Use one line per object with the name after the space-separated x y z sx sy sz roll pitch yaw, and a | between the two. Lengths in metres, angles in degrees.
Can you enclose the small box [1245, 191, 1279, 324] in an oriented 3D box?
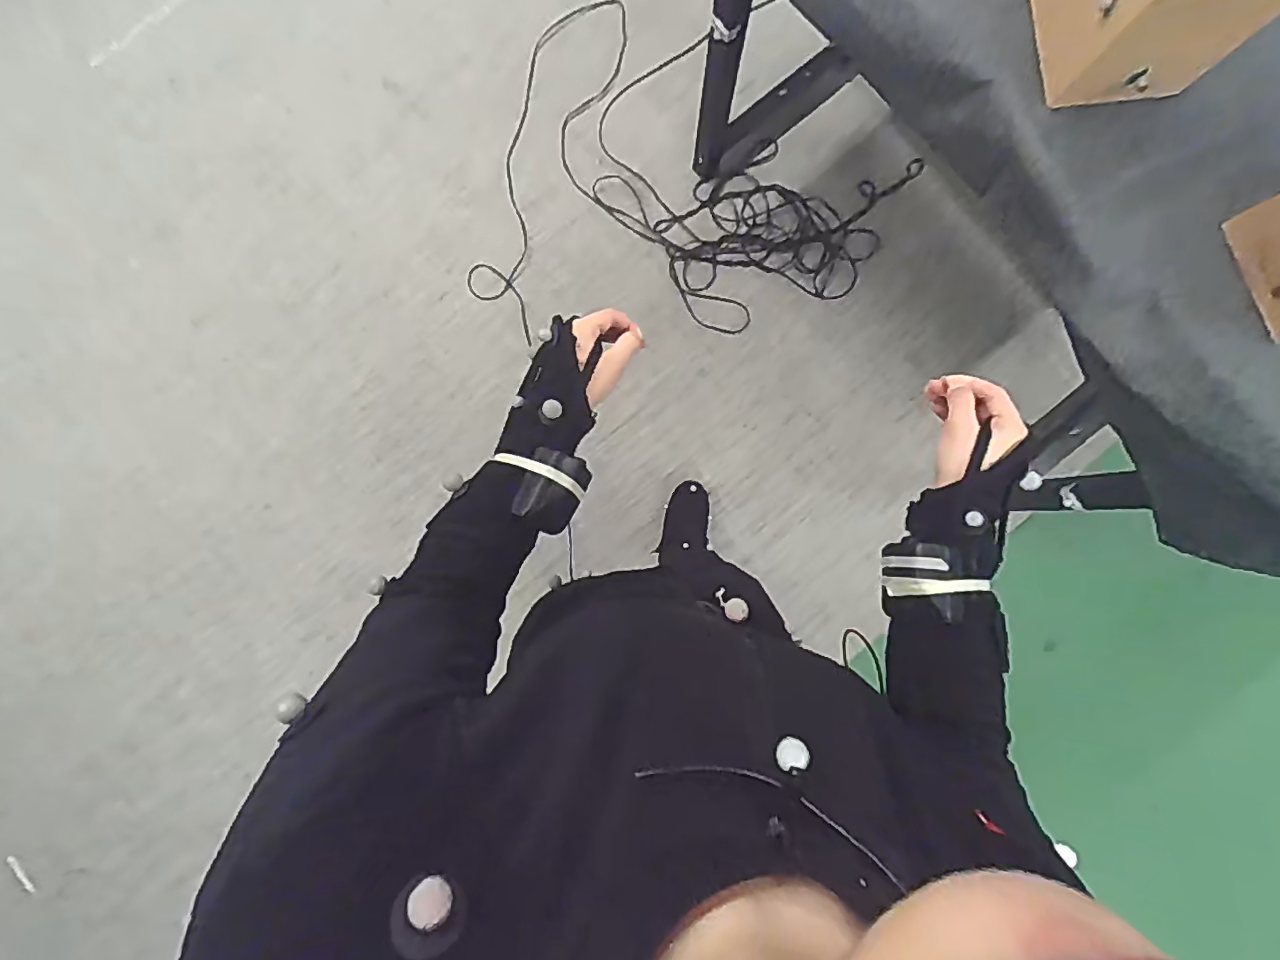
0.822 -0.279 0.575 0.179 0.176 0.168 -20 87 -2 | small box
